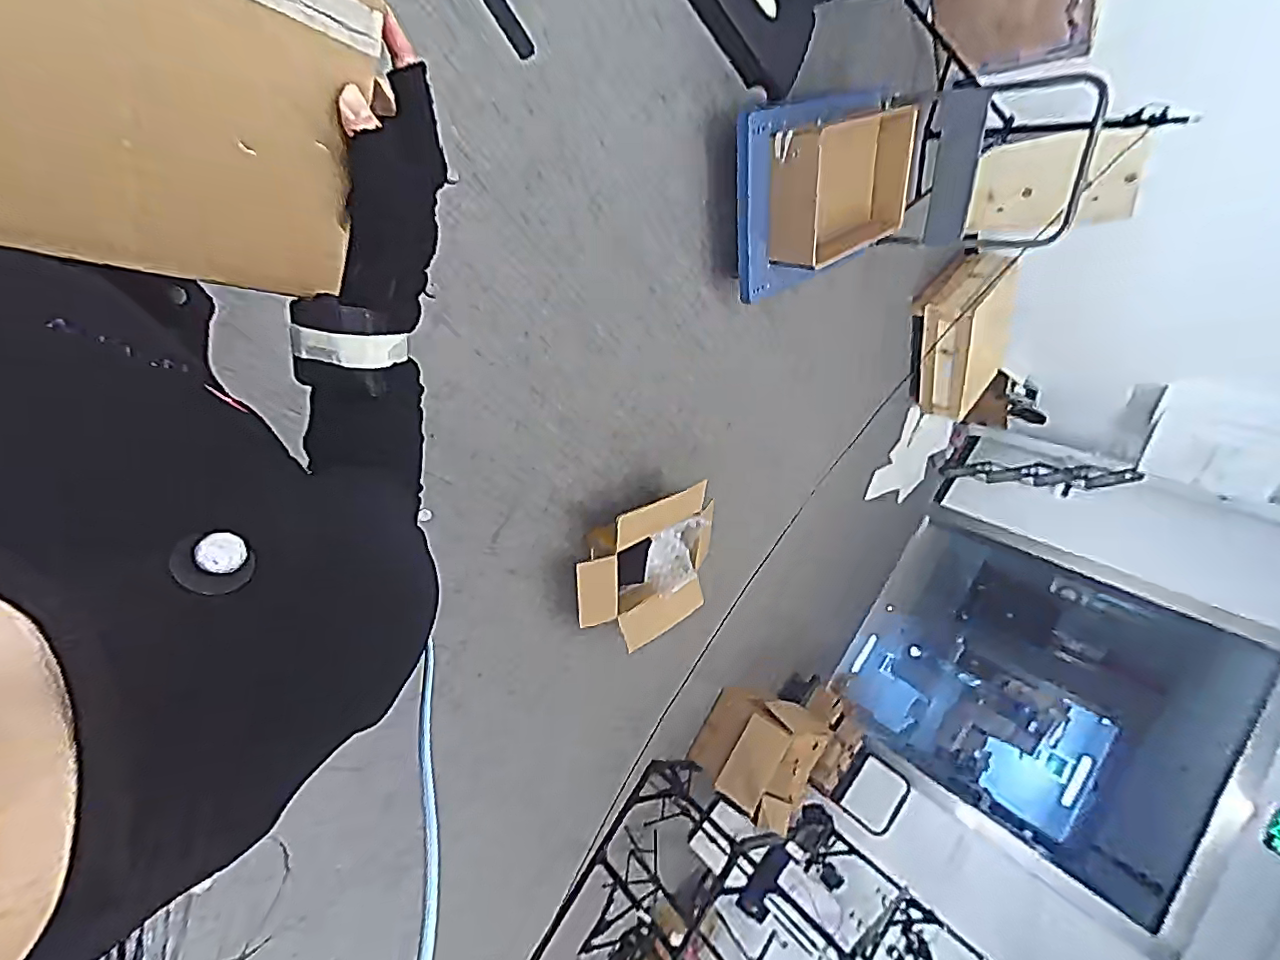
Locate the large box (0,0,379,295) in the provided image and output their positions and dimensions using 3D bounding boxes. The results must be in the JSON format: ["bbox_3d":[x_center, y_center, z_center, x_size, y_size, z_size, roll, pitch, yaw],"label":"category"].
[{"bbox_3d":[-0.382,-0.328,0.254,0.408,0.320,0.320,-4,132,-44],"label":"large box"}]
